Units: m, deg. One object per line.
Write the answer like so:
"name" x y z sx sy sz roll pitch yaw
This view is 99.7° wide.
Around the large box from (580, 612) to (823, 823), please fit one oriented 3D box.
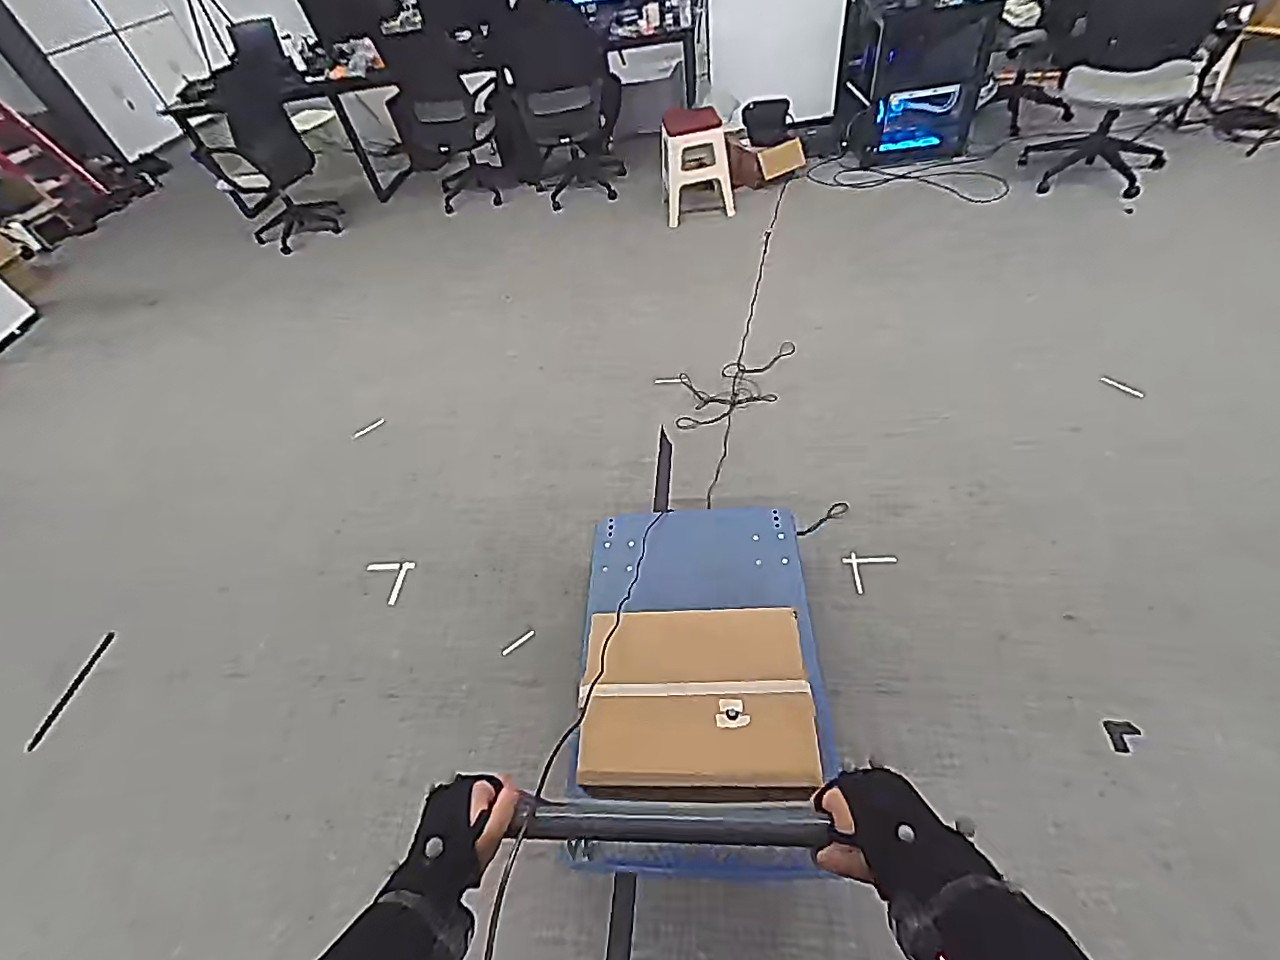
"large box" 0.114 0.481 1.082 0.408 0.320 0.320 -3 50 7
